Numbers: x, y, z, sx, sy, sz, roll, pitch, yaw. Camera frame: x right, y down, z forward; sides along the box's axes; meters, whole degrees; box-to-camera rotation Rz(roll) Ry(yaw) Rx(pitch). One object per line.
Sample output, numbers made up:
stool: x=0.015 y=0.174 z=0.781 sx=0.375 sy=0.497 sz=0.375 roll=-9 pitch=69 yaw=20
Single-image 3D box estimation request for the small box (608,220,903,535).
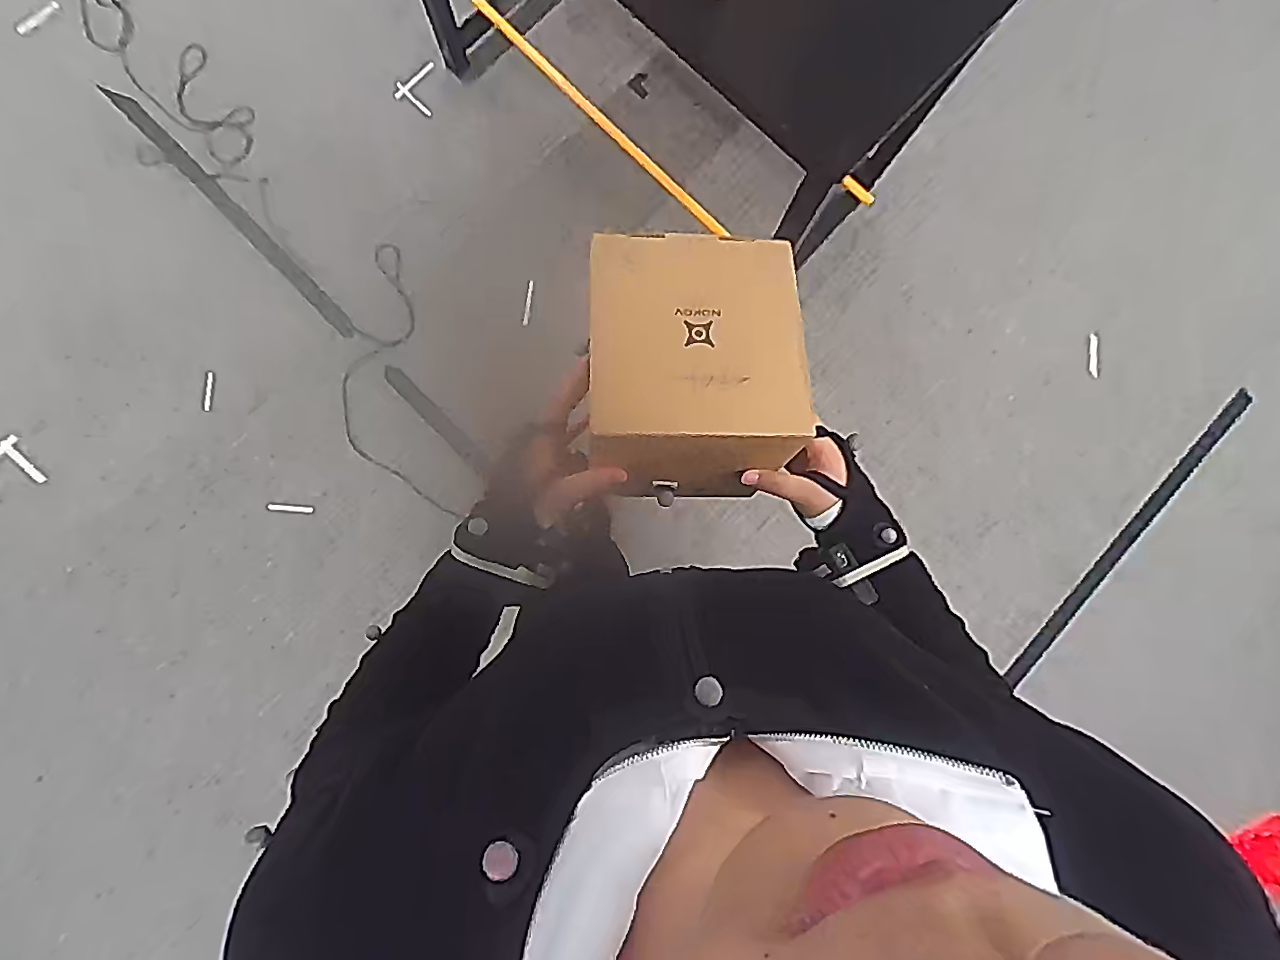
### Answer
small box: x=0.062 y=-0.062 z=0.407 sx=0.168 sy=0.176 sz=0.179 roll=-1 pitch=73 yaw=-5
